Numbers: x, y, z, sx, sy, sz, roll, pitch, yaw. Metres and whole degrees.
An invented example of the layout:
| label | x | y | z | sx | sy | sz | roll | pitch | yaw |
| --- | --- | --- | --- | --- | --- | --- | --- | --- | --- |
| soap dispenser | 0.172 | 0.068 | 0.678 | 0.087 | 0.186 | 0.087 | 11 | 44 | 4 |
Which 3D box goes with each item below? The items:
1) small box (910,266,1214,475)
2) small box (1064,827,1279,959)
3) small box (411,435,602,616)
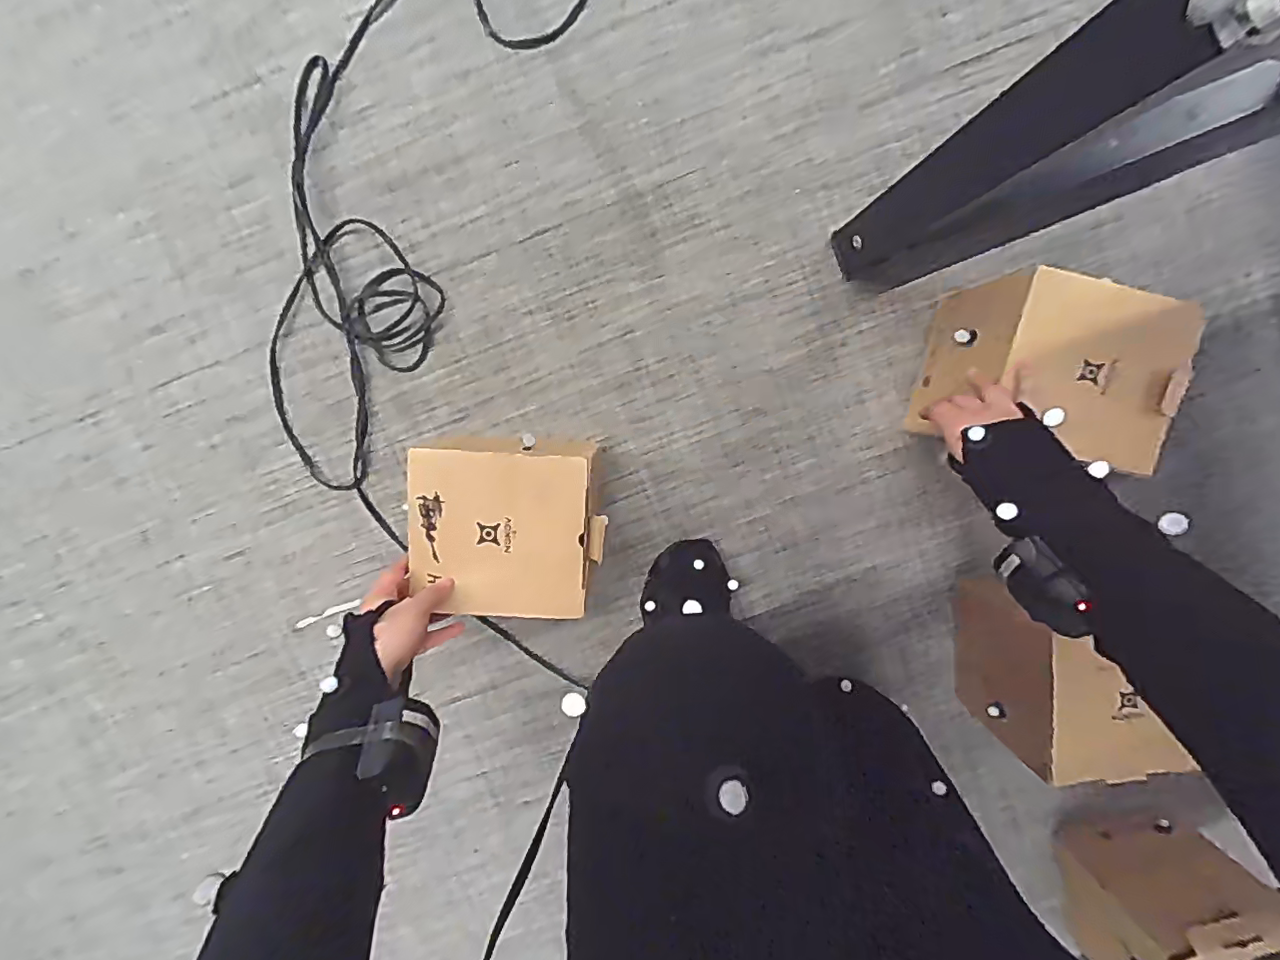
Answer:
| label | x | y | z | sx | sy | sz | roll | pitch | yaw |
| --- | --- | --- | --- | --- | --- | --- | --- | --- | --- |
| small box | 0.430 | -0.110 | 0.587 | 0.179 | 0.176 | 0.168 | 12 | 97 | -3 |
| small box | 0.681 | 0.577 | 0.681 | 0.168 | 0.176 | 0.179 | -15 | 99 | 2 |
| small box | -0.135 | 0.039 | 0.602 | 0.179 | 0.176 | 0.168 | 3 | 97 | -2 |
